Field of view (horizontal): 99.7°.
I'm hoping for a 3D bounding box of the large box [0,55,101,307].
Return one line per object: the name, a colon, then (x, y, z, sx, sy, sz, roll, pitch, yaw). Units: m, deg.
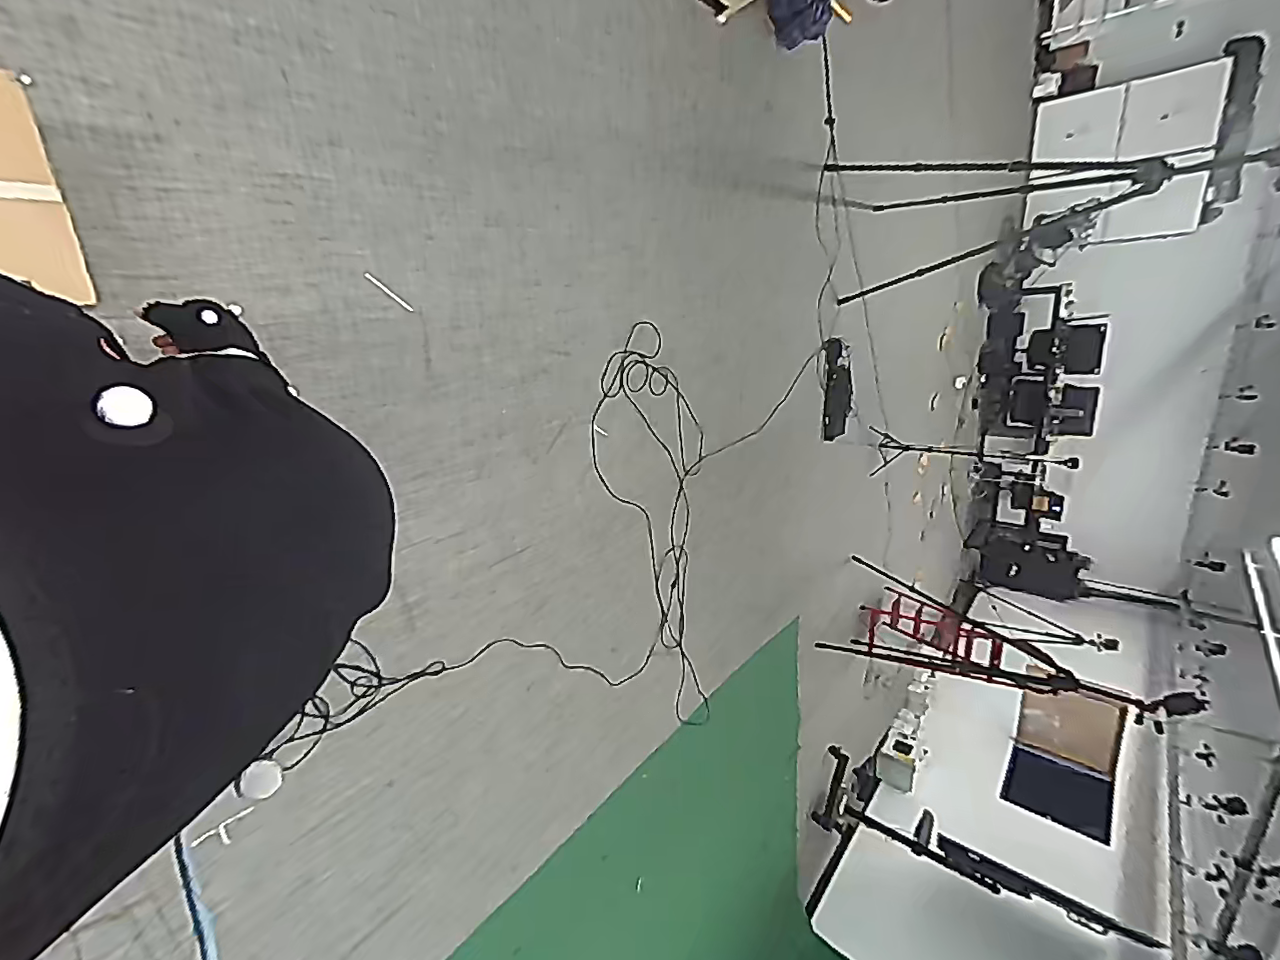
large box: (-1.095, -0.409, 0.760, 0.408, 0.320, 0.320, -22, 115, -44)
